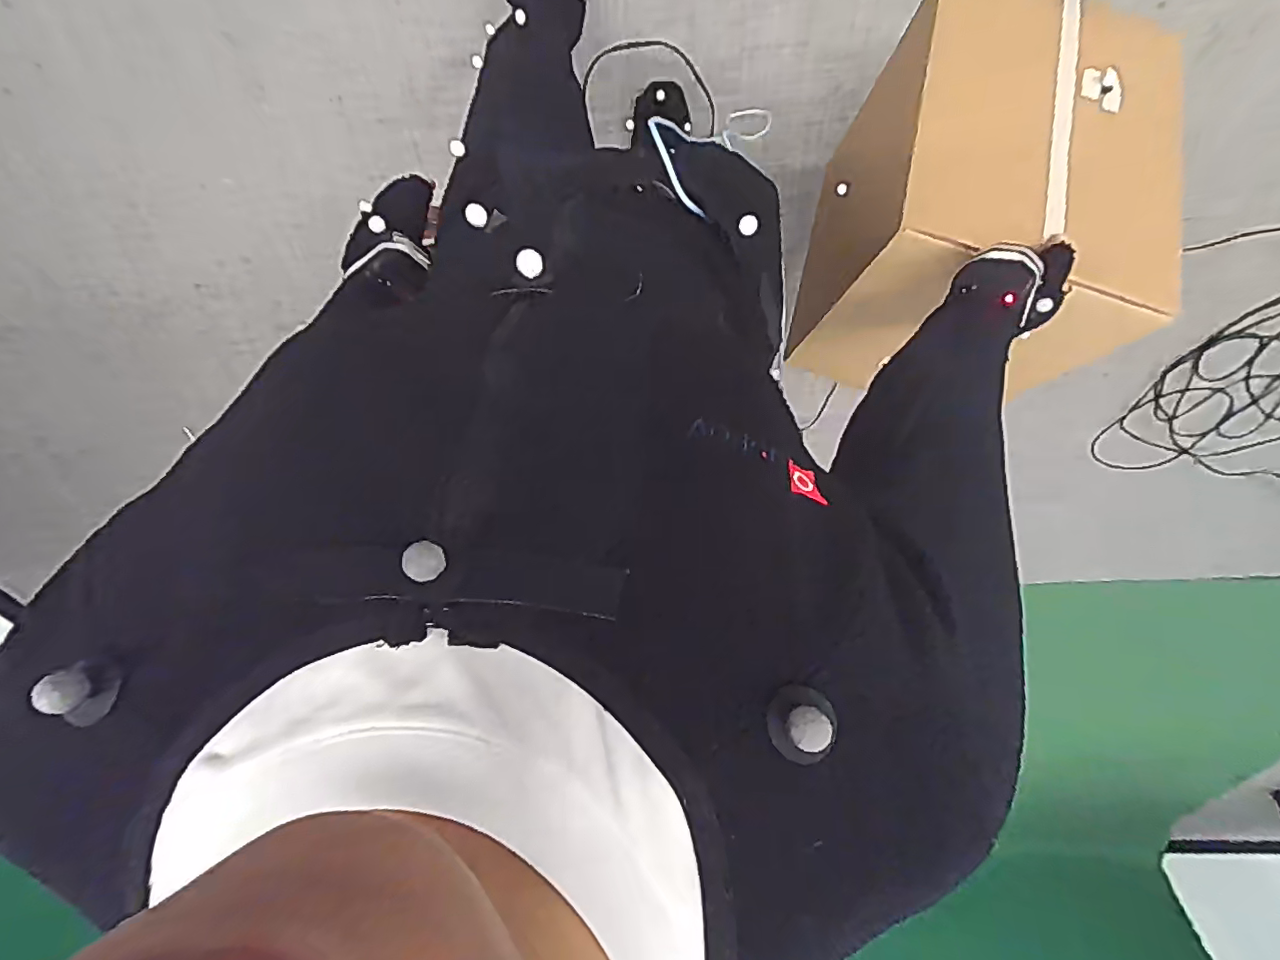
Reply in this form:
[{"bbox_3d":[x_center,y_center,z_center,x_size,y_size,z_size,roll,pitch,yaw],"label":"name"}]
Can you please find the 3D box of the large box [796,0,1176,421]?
[{"bbox_3d":[0.446,-0.346,0.755,0.320,0.408,0.320,17,164,-4],"label":"large box"}]
